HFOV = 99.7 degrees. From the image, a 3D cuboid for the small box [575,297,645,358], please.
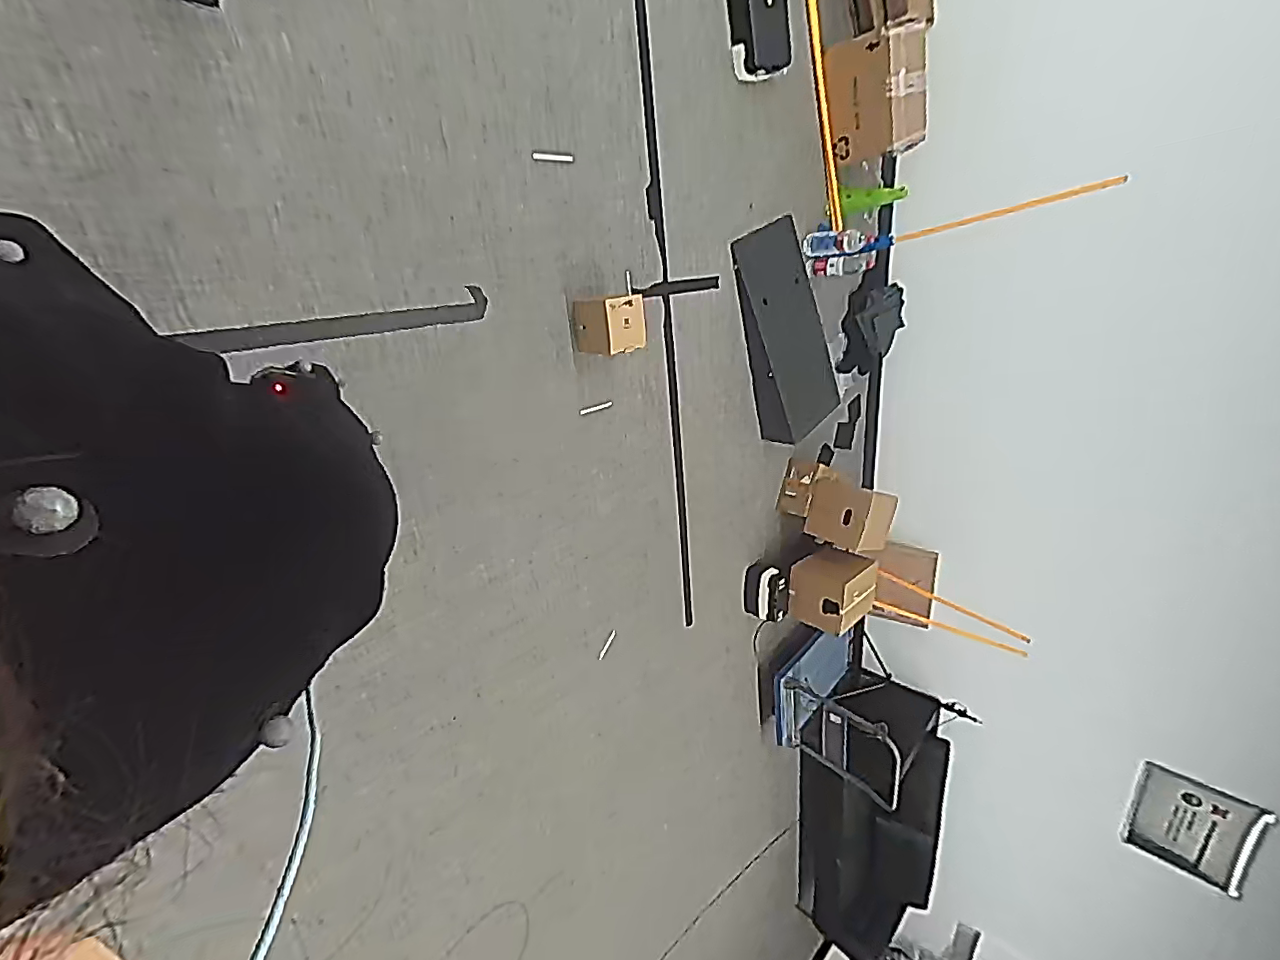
[{"bbox_3d":[-0.101,-0.520,1.828,0.168,0.176,0.179,-24,119,-39],"label":"small box"}]
